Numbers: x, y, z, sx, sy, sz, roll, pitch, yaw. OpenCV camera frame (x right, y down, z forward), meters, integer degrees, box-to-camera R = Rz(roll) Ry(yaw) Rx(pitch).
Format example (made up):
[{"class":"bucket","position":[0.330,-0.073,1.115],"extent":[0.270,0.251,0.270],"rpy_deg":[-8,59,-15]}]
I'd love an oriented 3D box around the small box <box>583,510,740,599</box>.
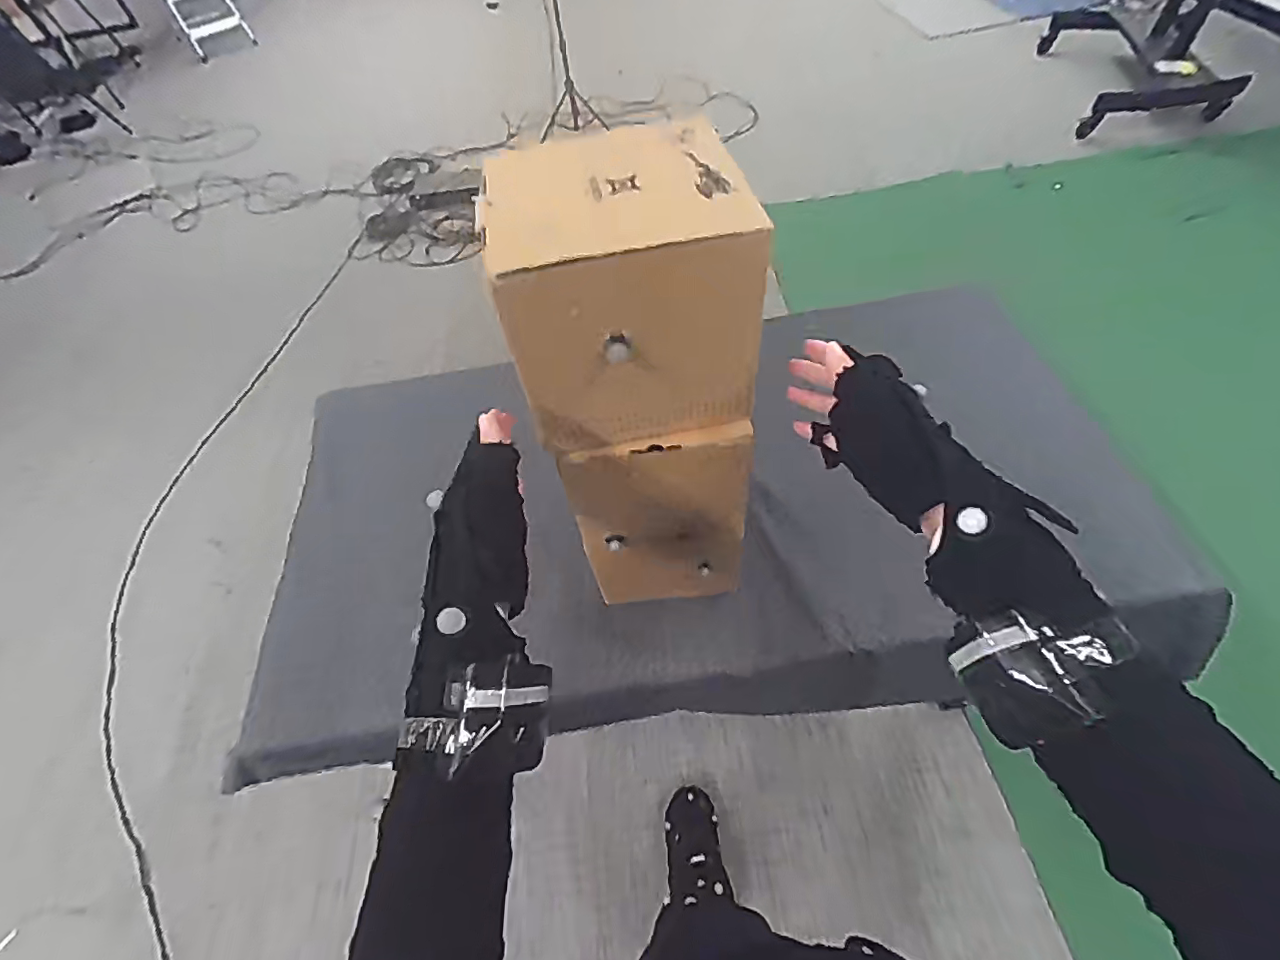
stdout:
[{"class":"small box","position":[0.026,0.041,0.702],"extent":[0.179,0.176,0.168],"rpy_deg":[-8,54,3]}]

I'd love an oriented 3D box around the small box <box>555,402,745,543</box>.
[{"class":"small box","position":[0.008,-0.047,0.565],"extent":[0.168,0.176,0.179],"rpy_deg":[-9,55,0]}]

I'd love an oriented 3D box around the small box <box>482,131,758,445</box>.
[{"class":"small box","position":[-0.016,-0.150,0.442],"extent":[0.179,0.176,0.168],"rpy_deg":[-13,53,-4]}]
